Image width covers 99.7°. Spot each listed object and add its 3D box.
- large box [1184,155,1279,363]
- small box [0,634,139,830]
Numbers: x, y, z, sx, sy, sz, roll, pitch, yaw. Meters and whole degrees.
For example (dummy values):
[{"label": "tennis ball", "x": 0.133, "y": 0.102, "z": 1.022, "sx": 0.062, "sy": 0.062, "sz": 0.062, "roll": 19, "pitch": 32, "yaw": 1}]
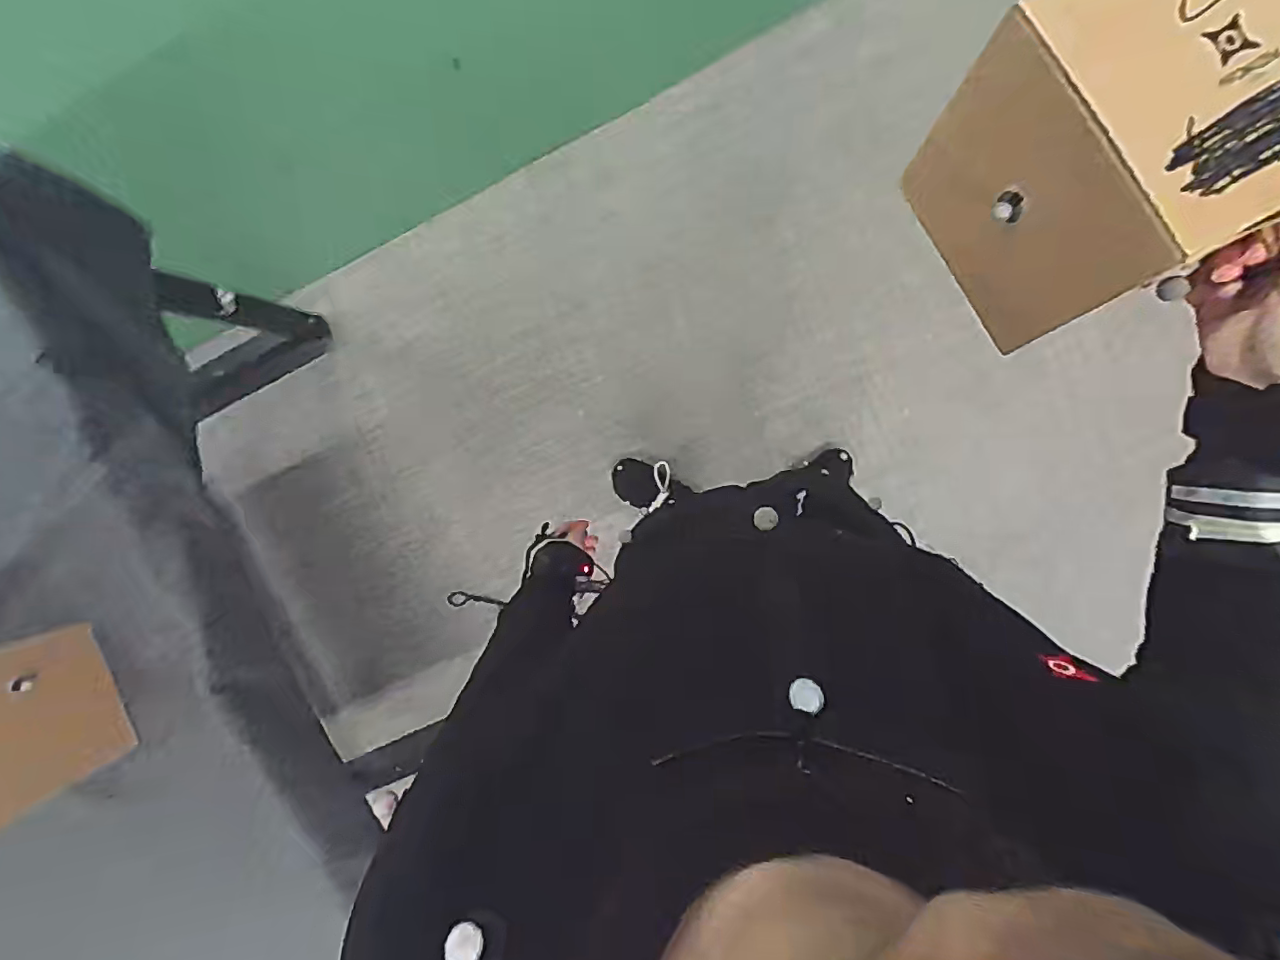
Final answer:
[{"label": "large box", "x": 1.424, "y": -0.487, "z": 1.062, "sx": 0.320, "sy": 0.320, "sz": 0.408, "roll": -26, "pitch": 95, "yaw": 7}, {"label": "small box", "x": -0.766, "y": 0.300, "z": 0.638, "sx": 0.168, "sy": 0.176, "sz": 0.179, "roll": -17, "pitch": 96, "yaw": 7}]
